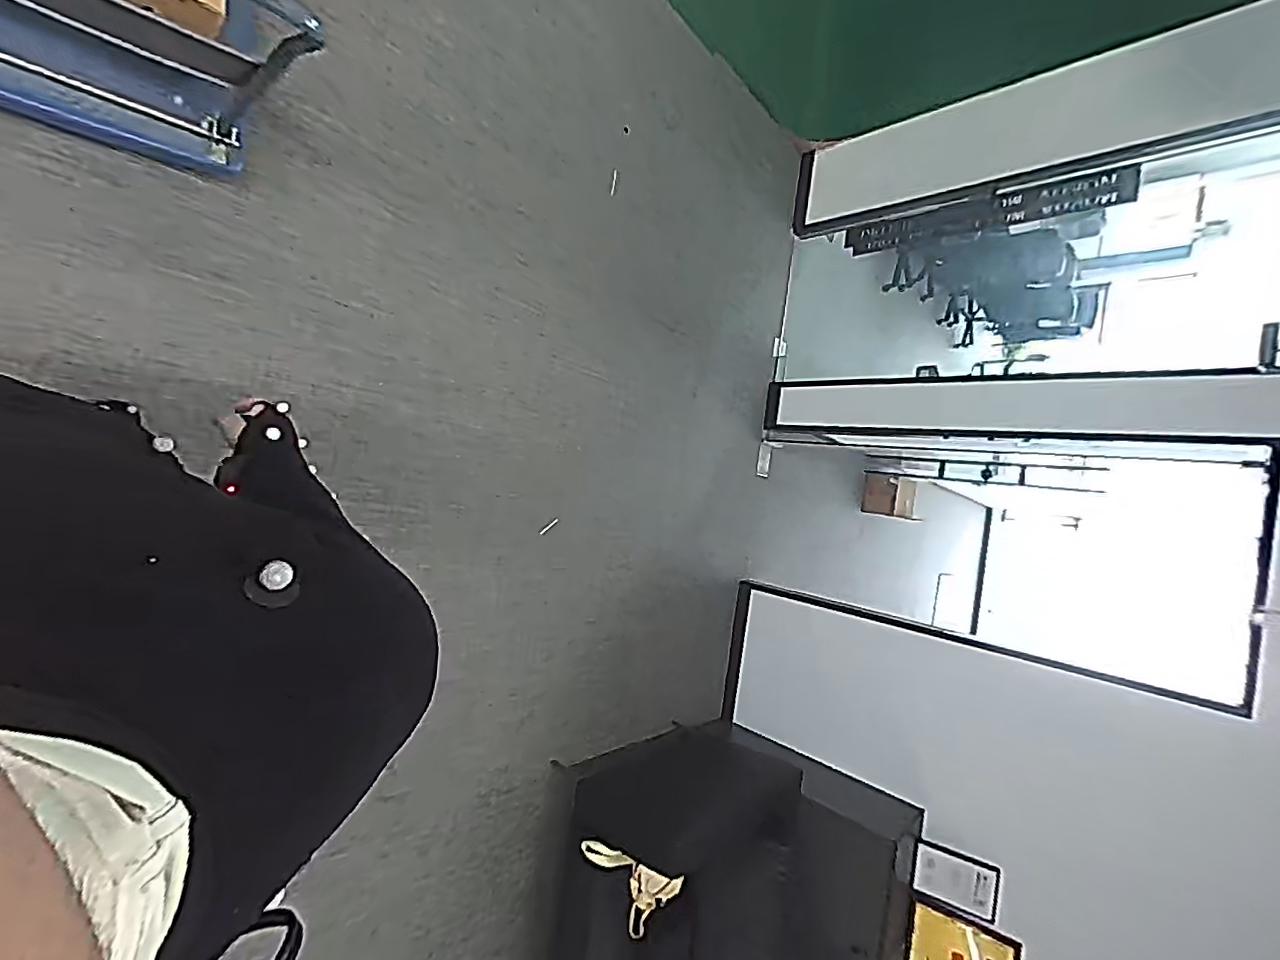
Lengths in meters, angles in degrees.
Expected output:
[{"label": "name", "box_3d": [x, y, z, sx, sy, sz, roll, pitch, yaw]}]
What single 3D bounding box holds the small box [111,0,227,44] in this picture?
[{"label": "small box", "box_3d": [-0.887, -0.979, 1.008, 0.168, 0.176, 0.179, 0, 96, -47]}]
